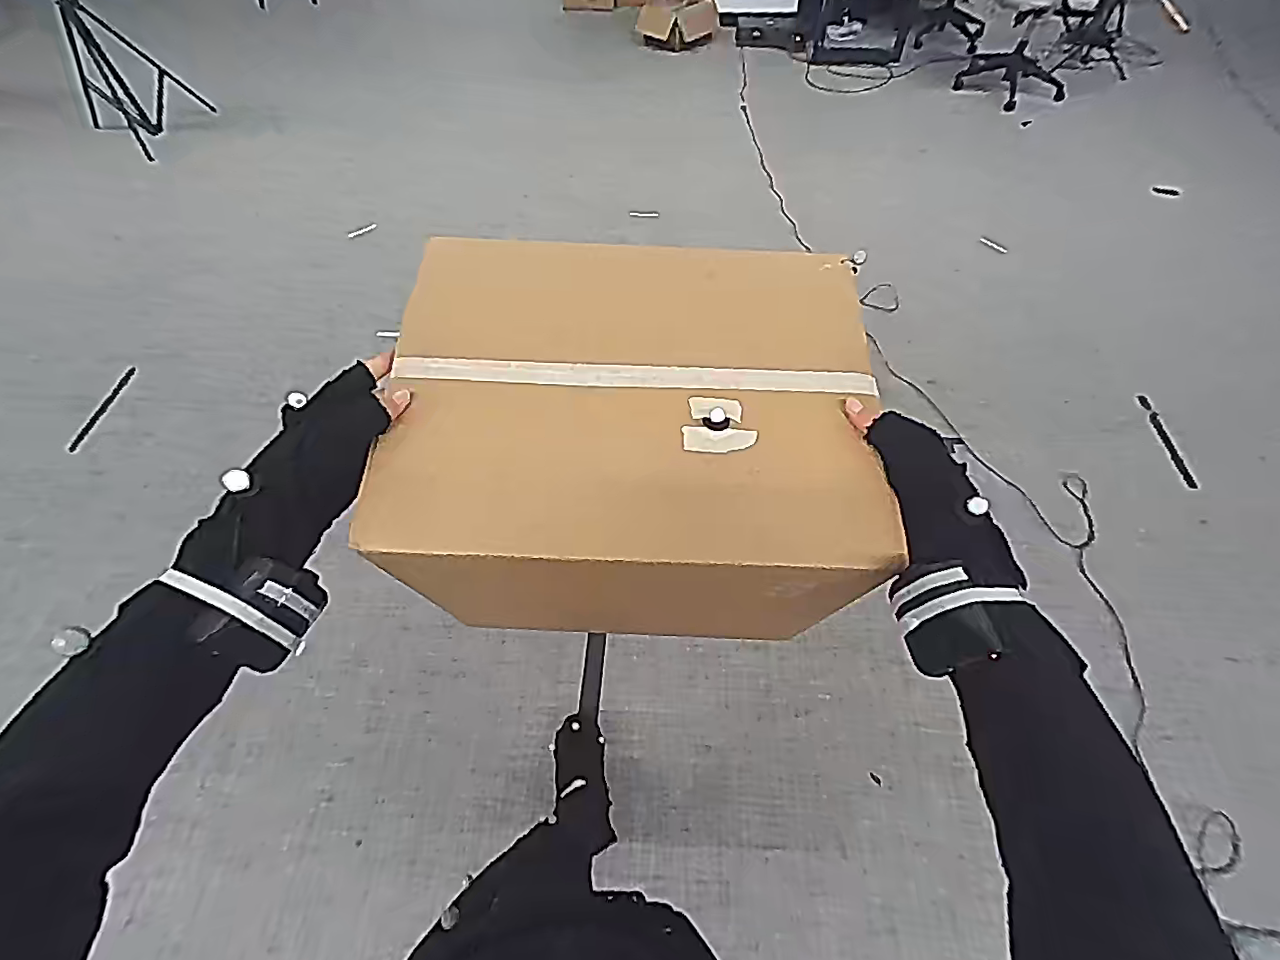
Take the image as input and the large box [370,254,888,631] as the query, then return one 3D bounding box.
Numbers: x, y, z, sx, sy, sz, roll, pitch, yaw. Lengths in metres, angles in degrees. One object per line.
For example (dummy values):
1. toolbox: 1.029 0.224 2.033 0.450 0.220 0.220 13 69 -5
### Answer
1. large box: -0.009 -0.017 0.606 0.408 0.320 0.320 2 65 0
